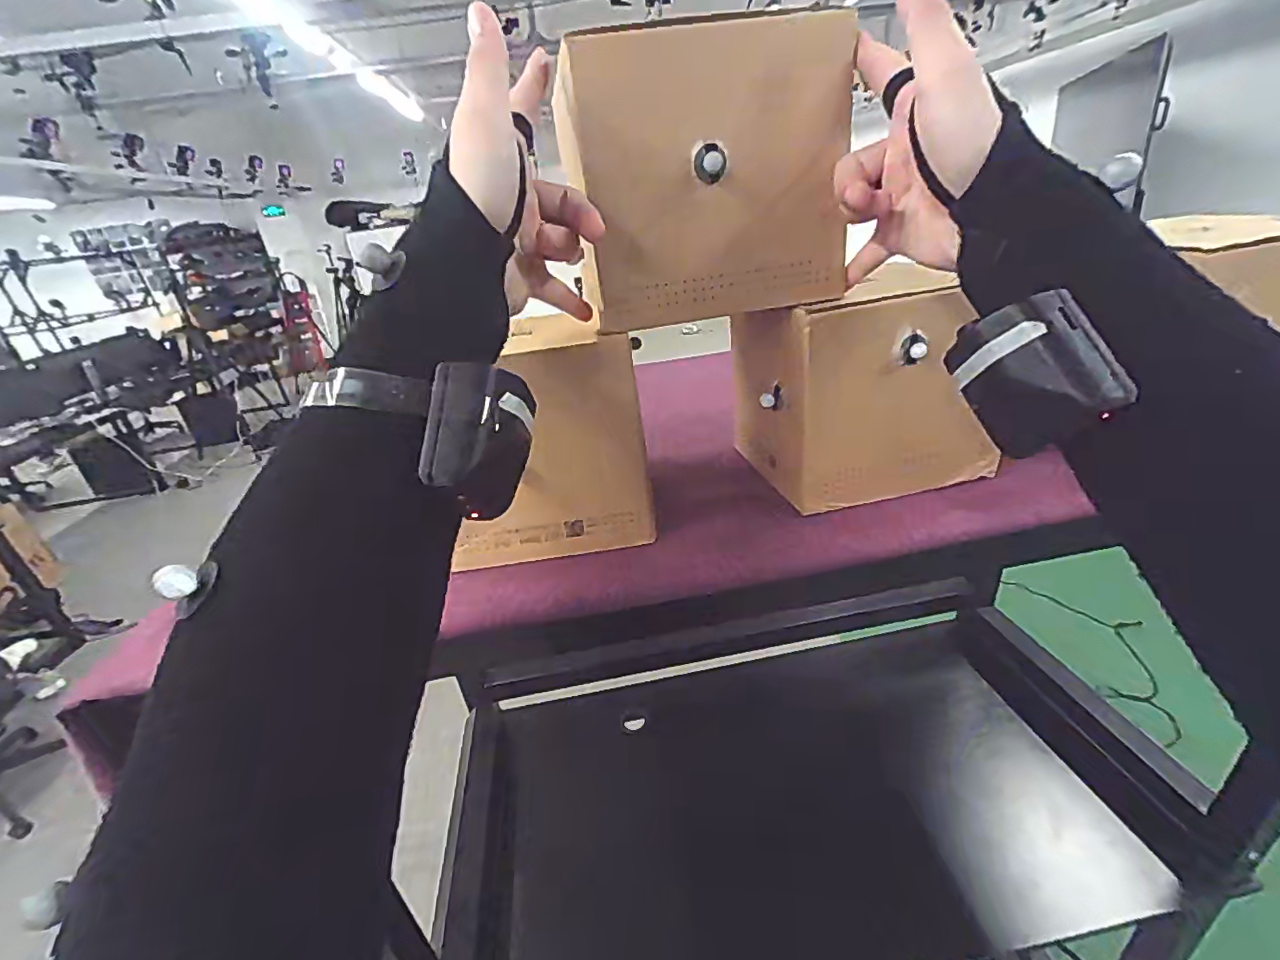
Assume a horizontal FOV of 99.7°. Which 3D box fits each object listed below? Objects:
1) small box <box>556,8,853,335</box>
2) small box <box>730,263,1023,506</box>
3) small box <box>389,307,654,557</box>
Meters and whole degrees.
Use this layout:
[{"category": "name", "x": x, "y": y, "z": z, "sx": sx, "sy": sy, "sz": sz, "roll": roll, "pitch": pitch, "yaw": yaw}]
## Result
[{"category": "small box", "x": 0.039, "y": -0.219, "z": 0.415, "sx": 0.179, "sy": 0.176, "sz": 0.168, "roll": -12, "pitch": 25, "yaw": -6}, {"category": "small box", "x": 0.192, "y": -0.091, "z": 0.484, "sx": 0.179, "sy": 0.176, "sz": 0.168, "roll": -11, "pitch": 26, "yaw": -6}, {"category": "small box", "x": -0.083, "y": -0.045, "z": 0.469, "sx": 0.168, "sy": 0.176, "sz": 0.179, "roll": -8, "pitch": 25, "yaw": -1}]
